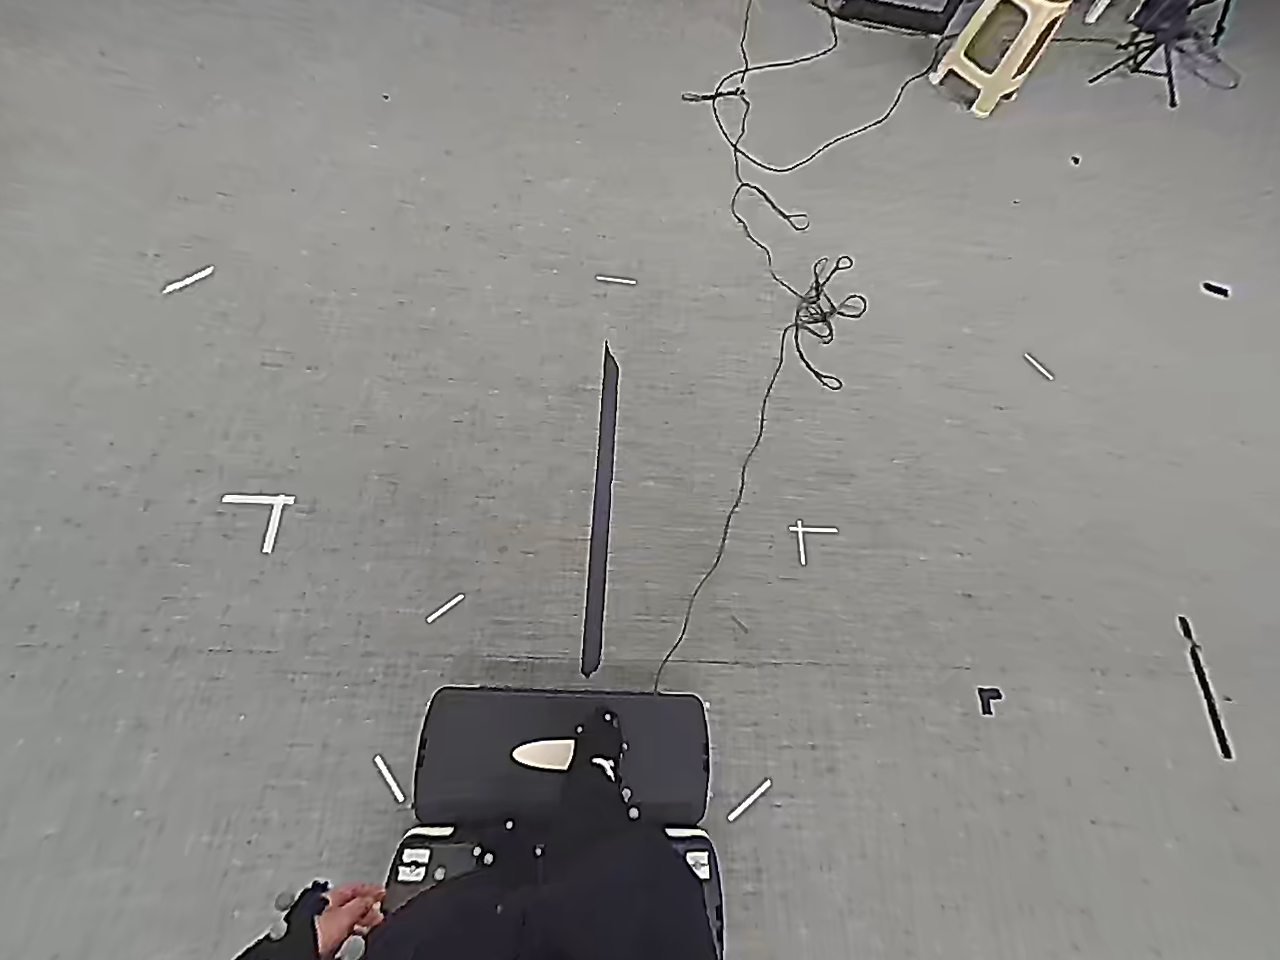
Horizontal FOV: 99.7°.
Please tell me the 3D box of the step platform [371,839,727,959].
[{"bbox_3d":[-0.170,0.932,1.087,0.684,0.204,0.286,8,64,-3],"label":"step platform"}]
